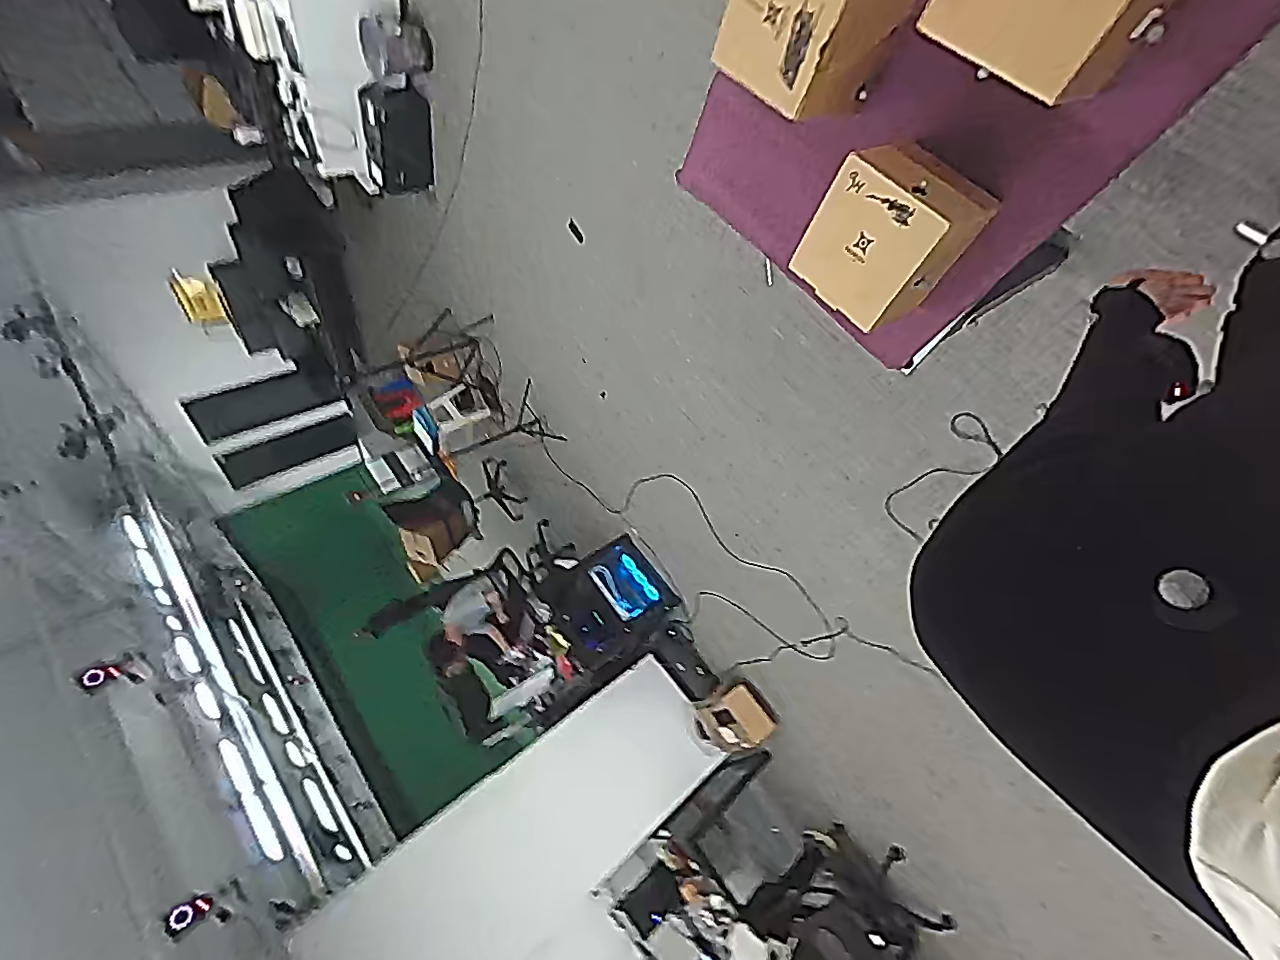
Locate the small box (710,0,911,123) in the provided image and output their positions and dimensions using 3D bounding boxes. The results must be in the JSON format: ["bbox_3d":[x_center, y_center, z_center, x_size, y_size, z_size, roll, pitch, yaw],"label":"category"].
[{"bbox_3d":[0.235,-0.631,0.747,0.179,0.176,0.168,49,146,18],"label":"small box"}]

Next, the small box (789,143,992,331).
[{"bbox_3d":[0.359,-0.355,0.786,0.168,0.176,0.179,49,147,17],"label":"small box"}]

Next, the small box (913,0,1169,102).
[{"bbox_3d":[0.434,-0.520,0.552,0.179,0.176,0.168,48,147,18],"label":"small box"}]
